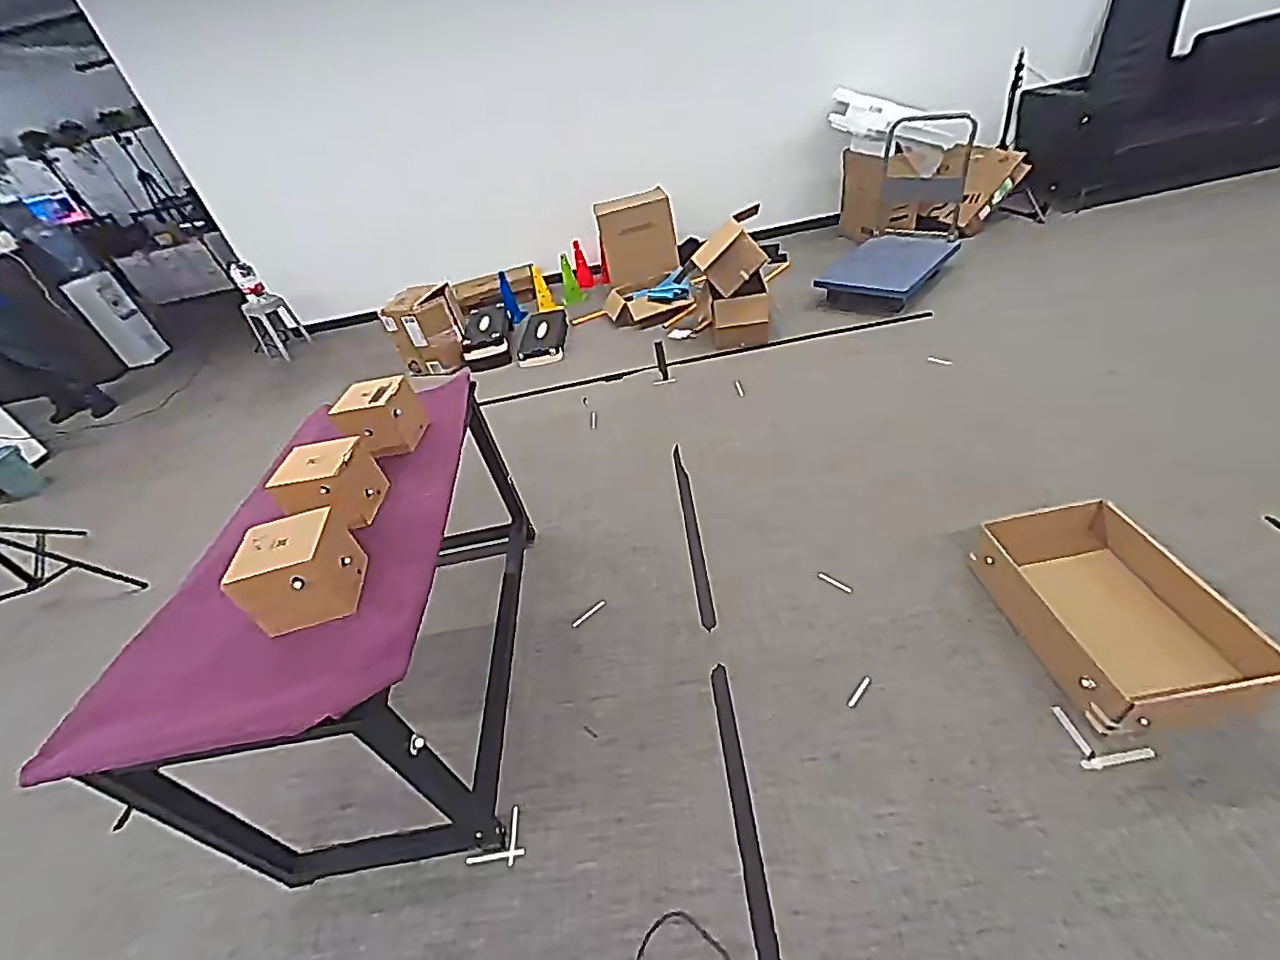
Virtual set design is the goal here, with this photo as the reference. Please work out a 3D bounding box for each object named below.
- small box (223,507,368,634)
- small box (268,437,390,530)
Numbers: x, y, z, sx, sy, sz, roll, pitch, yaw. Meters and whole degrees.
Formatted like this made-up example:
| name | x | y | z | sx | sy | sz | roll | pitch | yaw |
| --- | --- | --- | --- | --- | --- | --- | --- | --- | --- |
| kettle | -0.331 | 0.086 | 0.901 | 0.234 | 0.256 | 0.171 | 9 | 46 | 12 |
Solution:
| name | x | y | z | sx | sy | sz | roll | pitch | yaw |
| --- | --- | --- | --- | --- | --- | --- | --- | --- | --- |
| small box | -0.699 | 0.189 | 1.125 | 0.179 | 0.176 | 0.168 | -16 | 38 | -3 |
| small box | -0.770 | 0.018 | 1.358 | 0.179 | 0.176 | 0.168 | -9 | 39 | 4 |
